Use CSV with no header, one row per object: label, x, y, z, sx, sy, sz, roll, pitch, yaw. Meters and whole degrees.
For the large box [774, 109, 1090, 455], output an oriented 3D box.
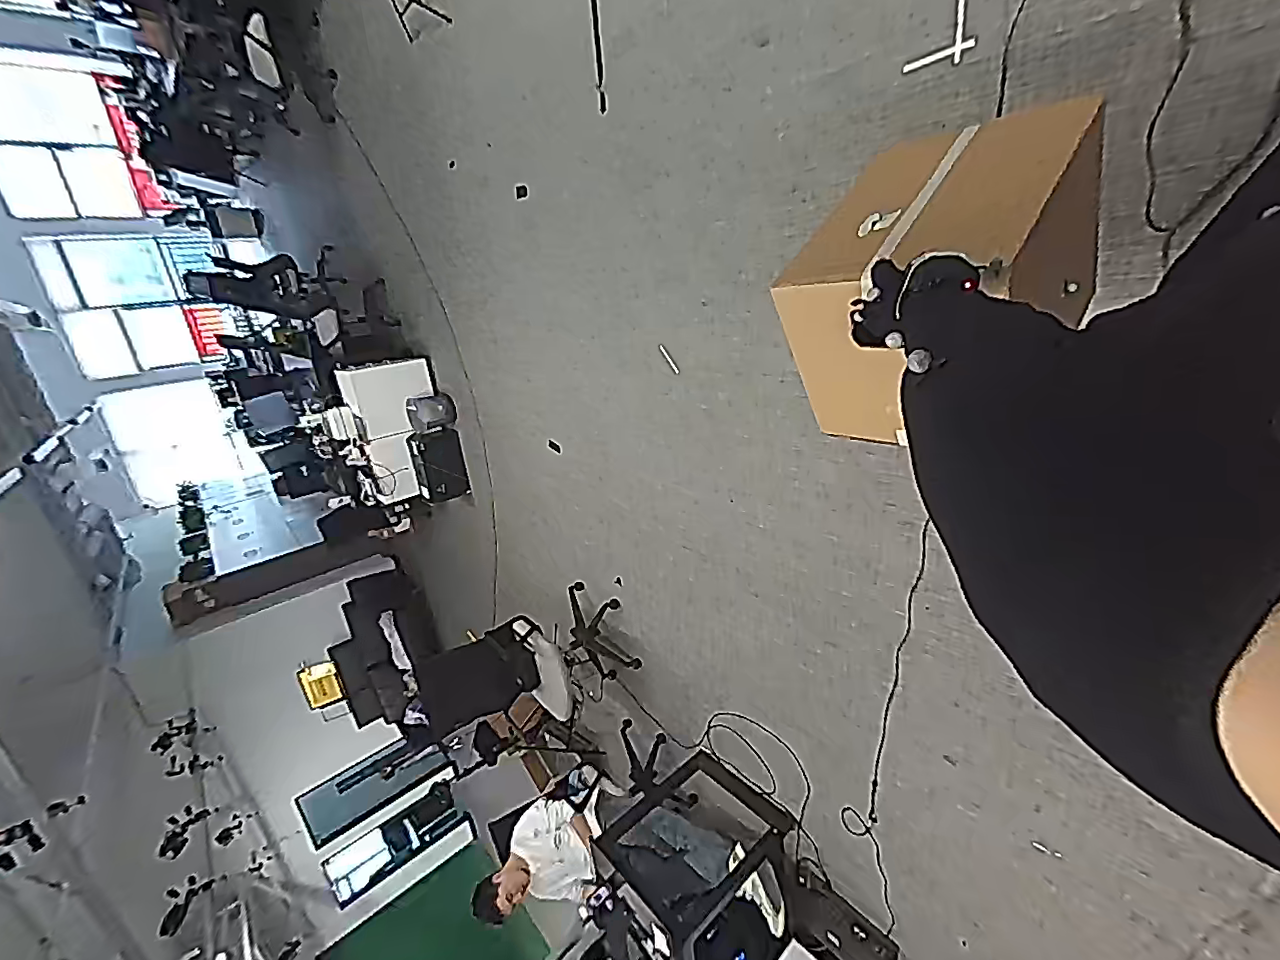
large box,0.483,-0.302,0.875,0.320,0.408,0.320,14,148,46
